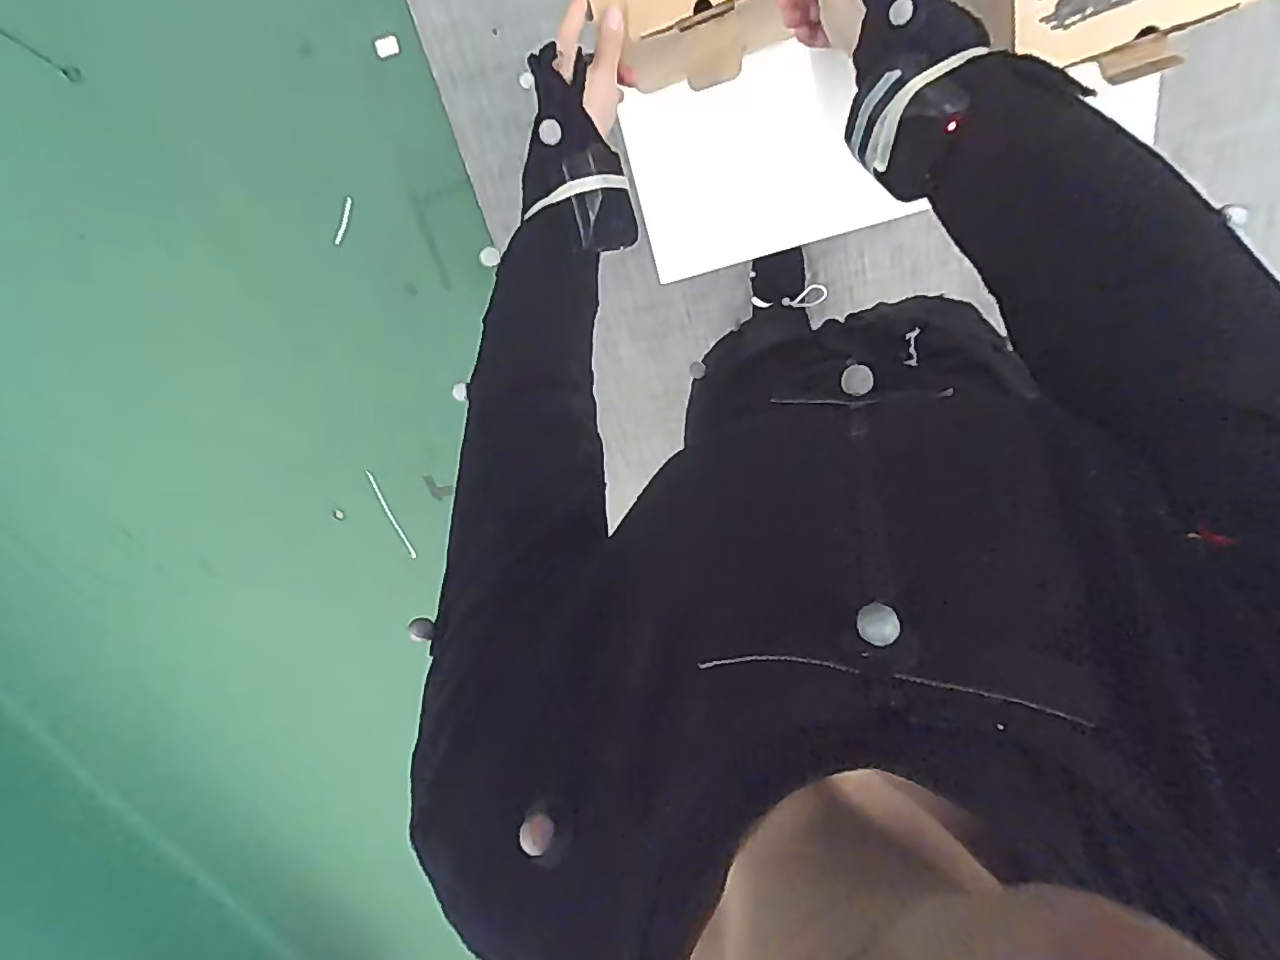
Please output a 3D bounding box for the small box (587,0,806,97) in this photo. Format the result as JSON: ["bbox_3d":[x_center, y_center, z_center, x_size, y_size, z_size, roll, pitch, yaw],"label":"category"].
[{"bbox_3d":[0.038,-0.455,0.446,0.168,0.176,0.179,-10,114,16],"label":"small box"}]
